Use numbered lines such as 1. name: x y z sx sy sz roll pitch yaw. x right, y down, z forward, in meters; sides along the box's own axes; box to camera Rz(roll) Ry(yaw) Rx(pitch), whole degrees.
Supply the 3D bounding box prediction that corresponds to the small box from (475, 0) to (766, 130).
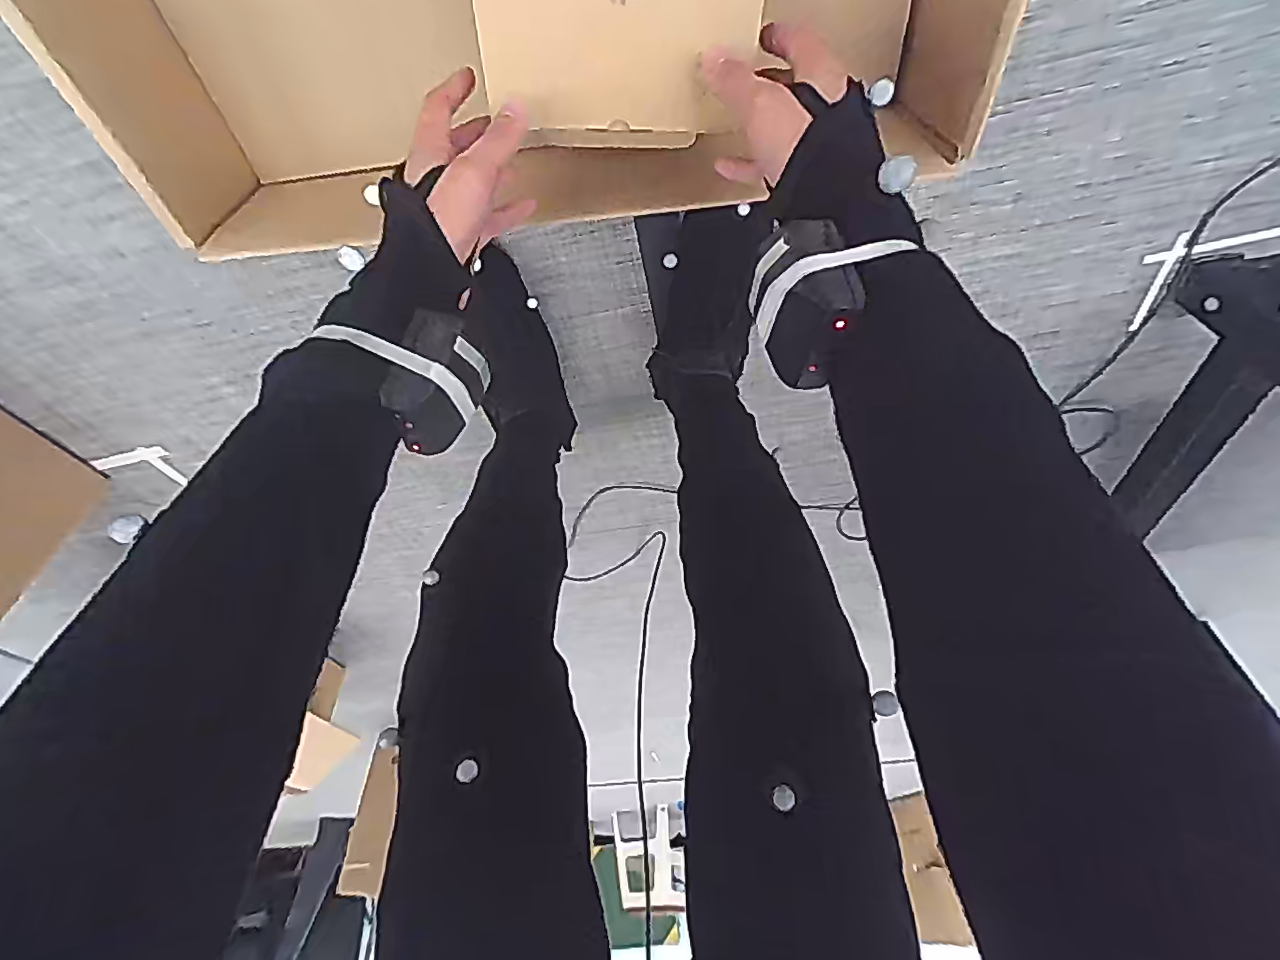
1. small box: -0.009 -0.345 0.332 0.168 0.176 0.179 1 139 -2
